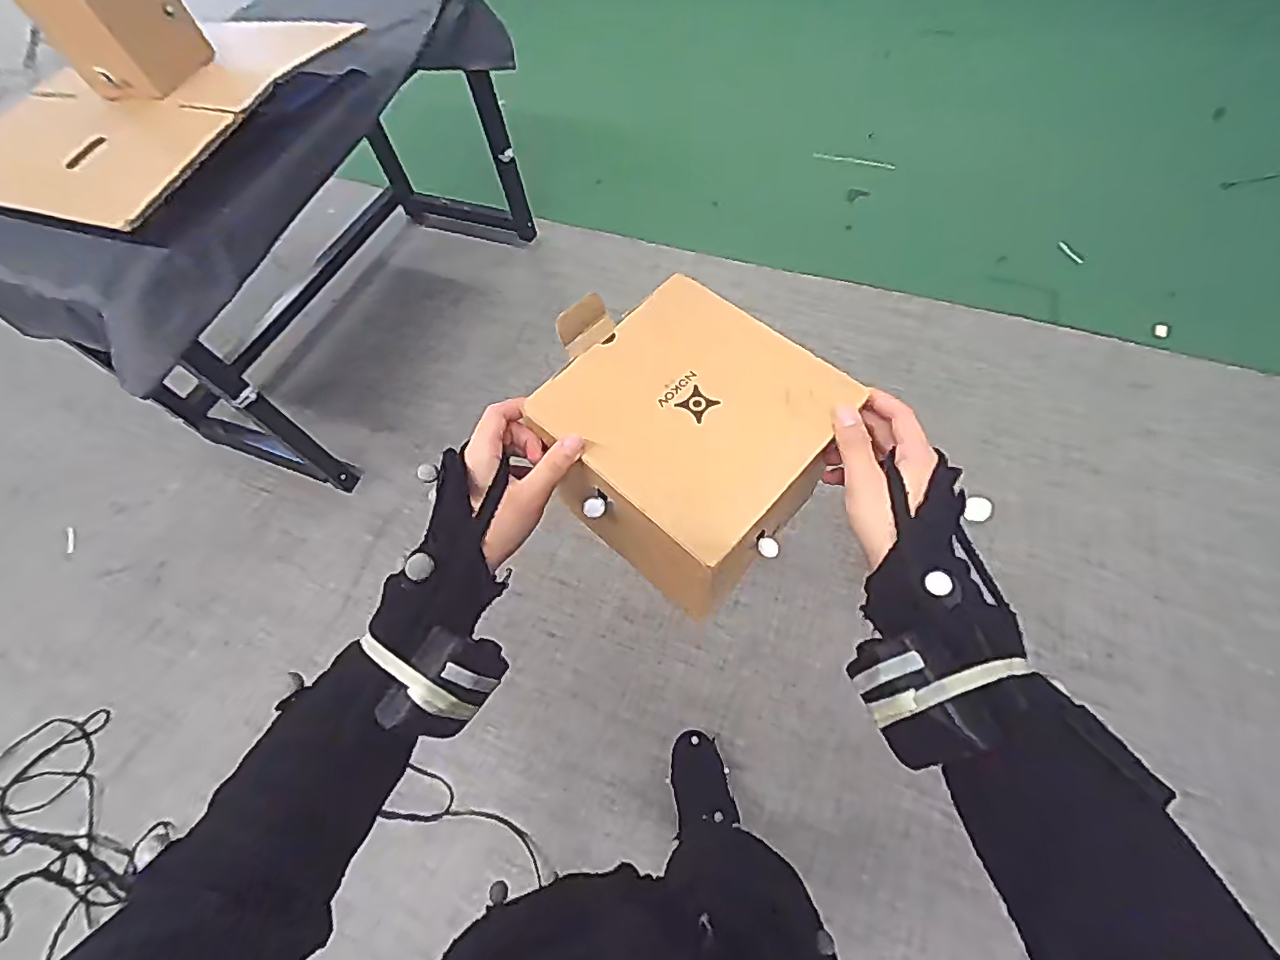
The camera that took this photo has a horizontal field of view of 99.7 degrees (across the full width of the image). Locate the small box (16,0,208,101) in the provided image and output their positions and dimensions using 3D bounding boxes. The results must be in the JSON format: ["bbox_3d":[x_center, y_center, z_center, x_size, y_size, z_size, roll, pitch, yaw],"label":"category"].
[{"bbox_3d":[-0.969,-0.845,1.011,0.168,0.176,0.179,8,62,13],"label":"small box"}]
